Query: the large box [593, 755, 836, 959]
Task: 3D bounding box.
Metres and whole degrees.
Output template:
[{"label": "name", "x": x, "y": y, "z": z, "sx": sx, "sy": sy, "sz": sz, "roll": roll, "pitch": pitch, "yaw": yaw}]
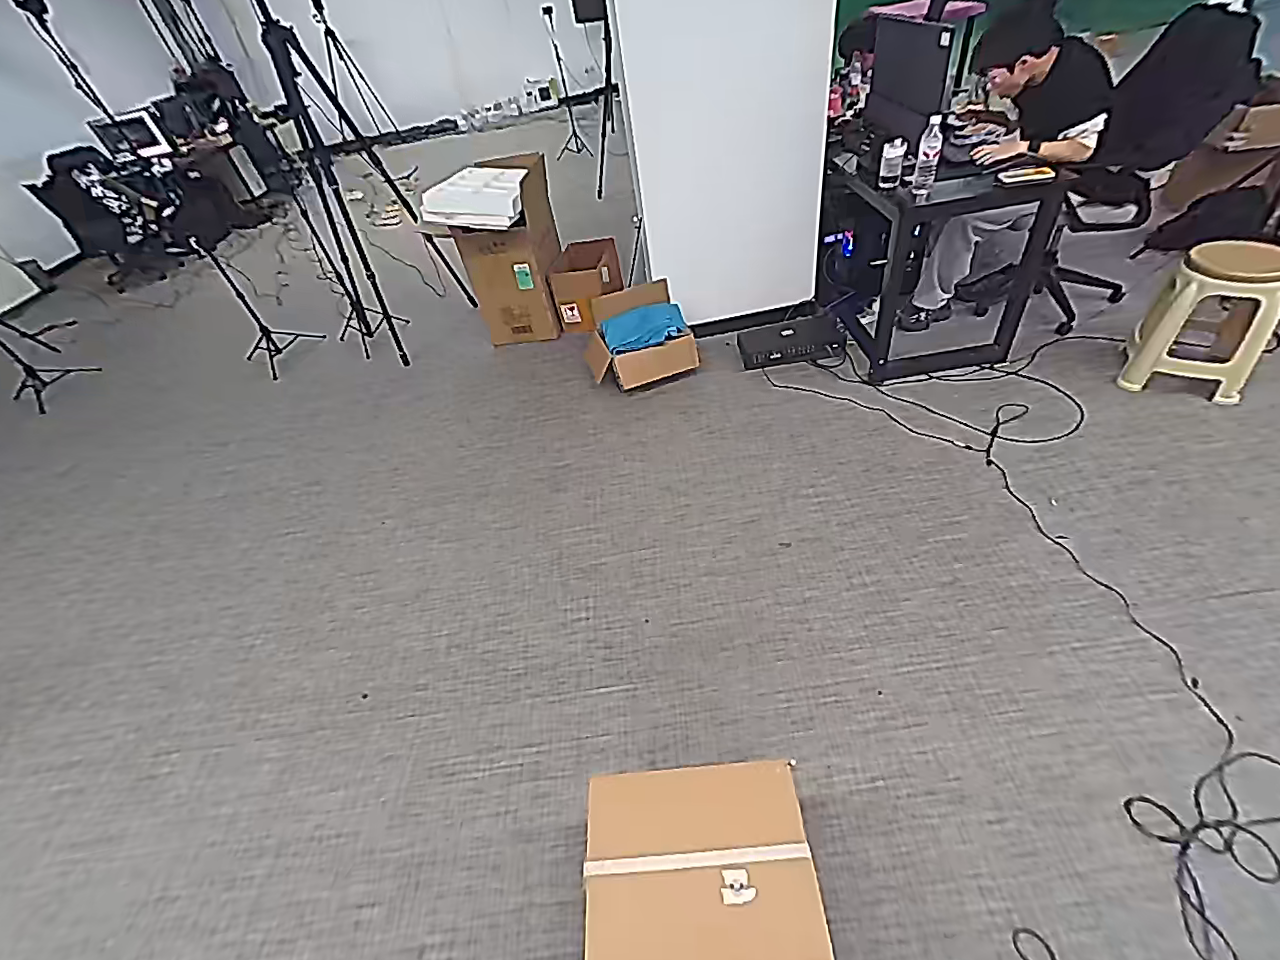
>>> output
[{"label": "large box", "x": 0.130, "y": 0.785, "z": 1.077, "sx": 0.408, "sy": 0.320, "sz": 0.320, "roll": -7, "pitch": 43, "yaw": 4}]
